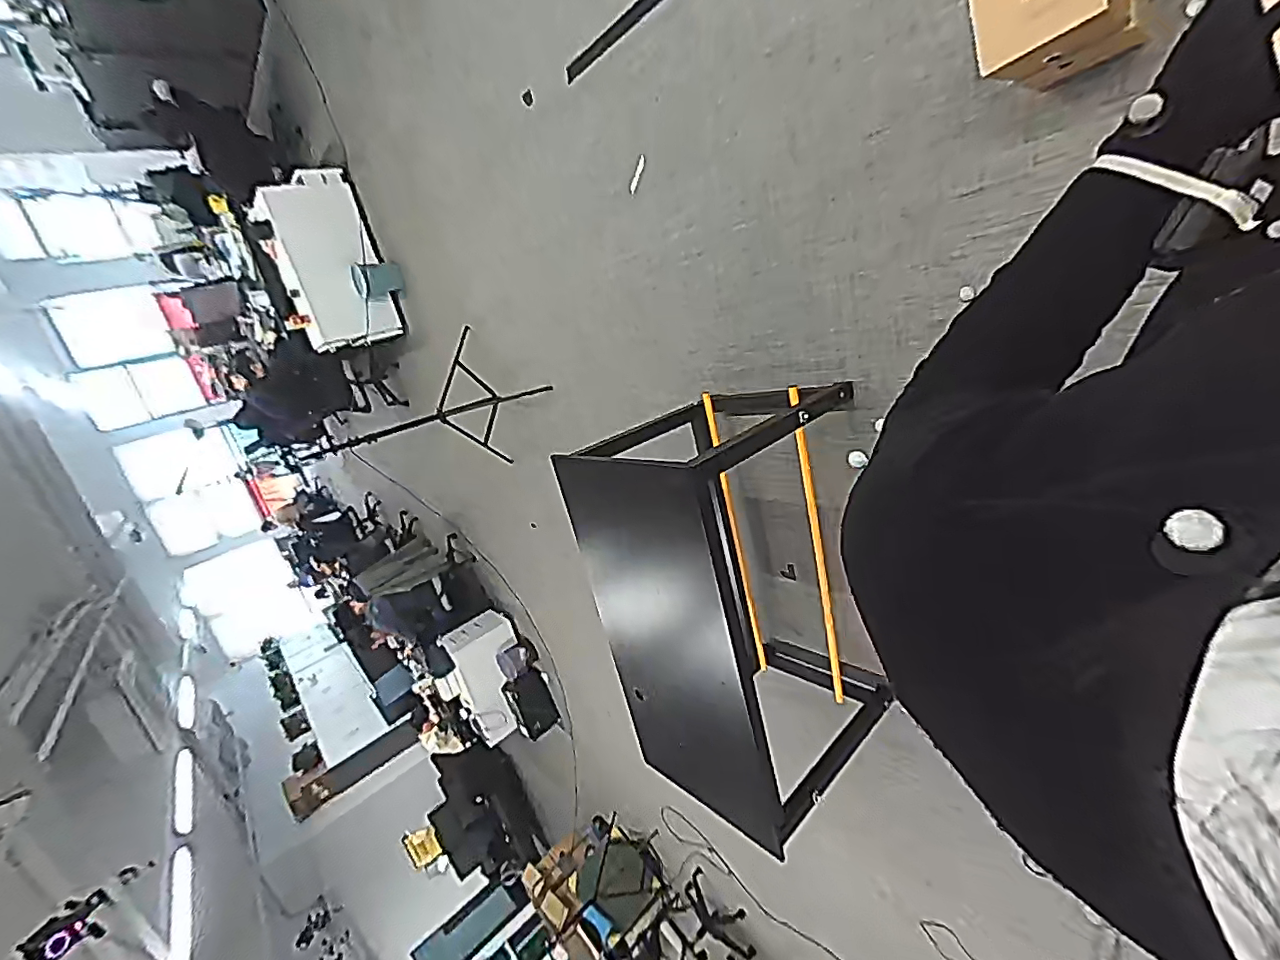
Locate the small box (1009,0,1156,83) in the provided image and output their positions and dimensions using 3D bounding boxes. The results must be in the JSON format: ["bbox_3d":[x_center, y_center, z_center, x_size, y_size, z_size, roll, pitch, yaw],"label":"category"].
[{"bbox_3d":[0.768,-0.826,0.945,0.179,0.176,0.168,3,115,51],"label":"small box"}]

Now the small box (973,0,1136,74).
[{"bbox_3d":[0.646,-0.776,0.849,0.168,0.176,0.179,-1,112,54],"label":"small box"}]
